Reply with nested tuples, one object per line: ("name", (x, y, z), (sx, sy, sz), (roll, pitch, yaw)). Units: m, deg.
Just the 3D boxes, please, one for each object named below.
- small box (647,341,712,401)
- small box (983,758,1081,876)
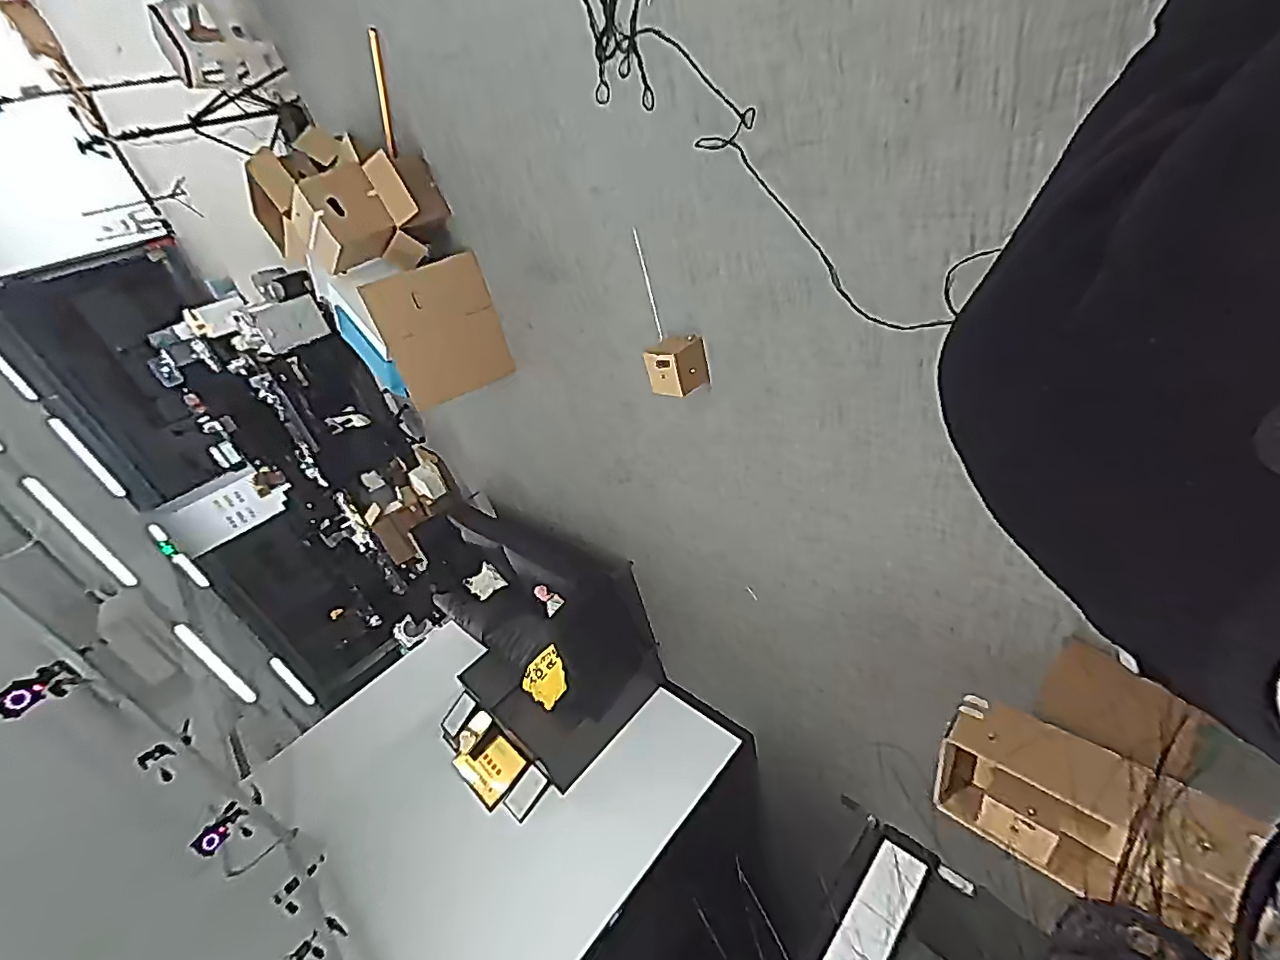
("small box", (0.160, -0.430, 2.110), (0.168, 0.176, 0.179), (18, 136, 44))
("small box", (1.045, 0.893, 1.444), (0.168, 0.176, 0.179), (20, 136, 40))
